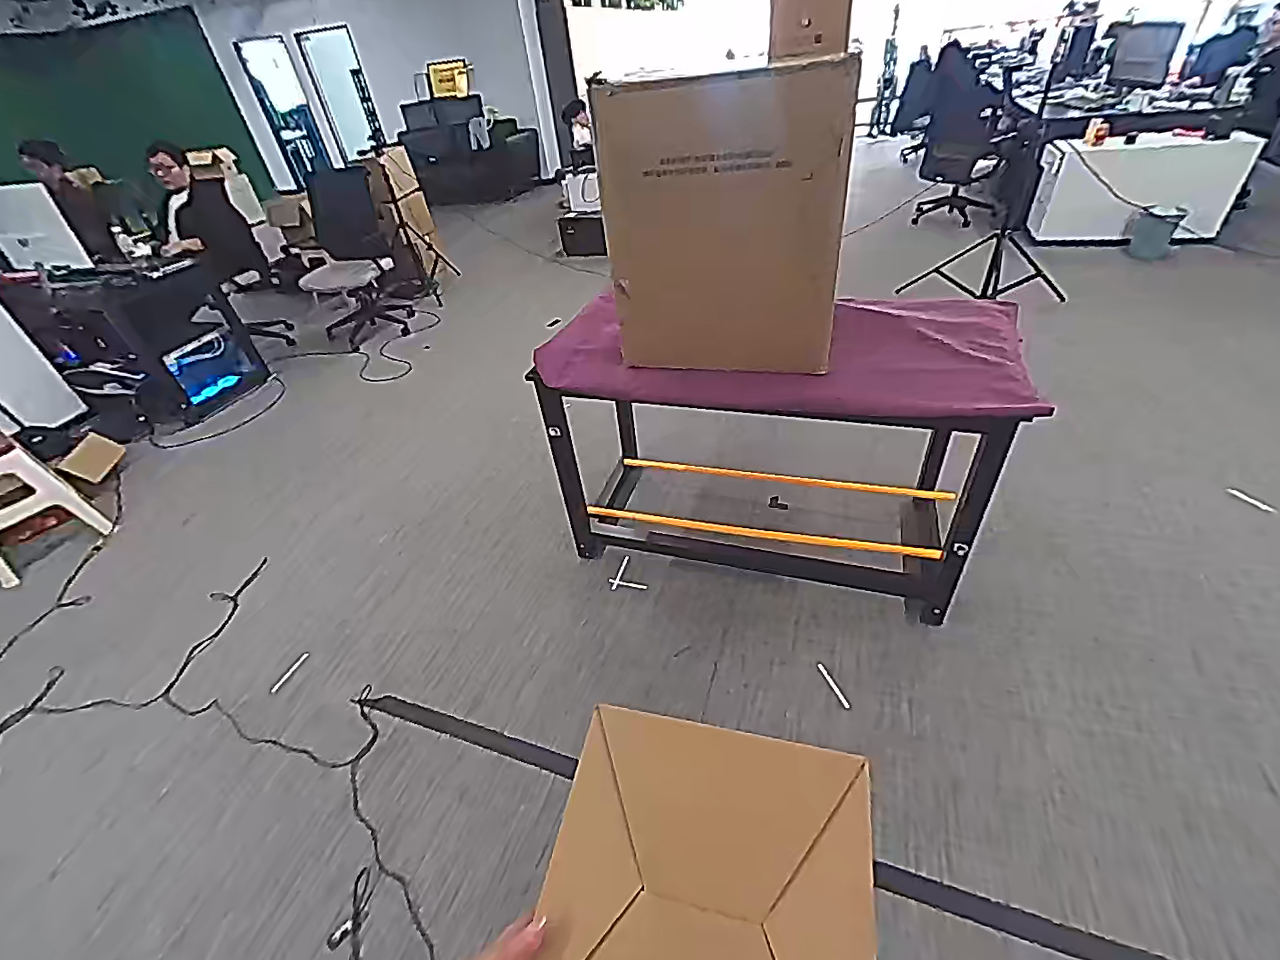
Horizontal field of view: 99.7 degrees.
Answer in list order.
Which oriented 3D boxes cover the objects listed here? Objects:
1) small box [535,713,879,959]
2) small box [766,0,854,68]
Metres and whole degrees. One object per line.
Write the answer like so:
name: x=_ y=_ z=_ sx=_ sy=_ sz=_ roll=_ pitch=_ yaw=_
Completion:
small box: x=0.044 y=0.273 z=0.332 sx=0.168 sy=0.176 sz=0.179 roll=5 pitch=47 yaw=14
small box: x=0.361 y=-0.984 z=1.141 sx=0.168 sy=0.176 sz=0.179 roll=6 pitch=40 yaw=19
